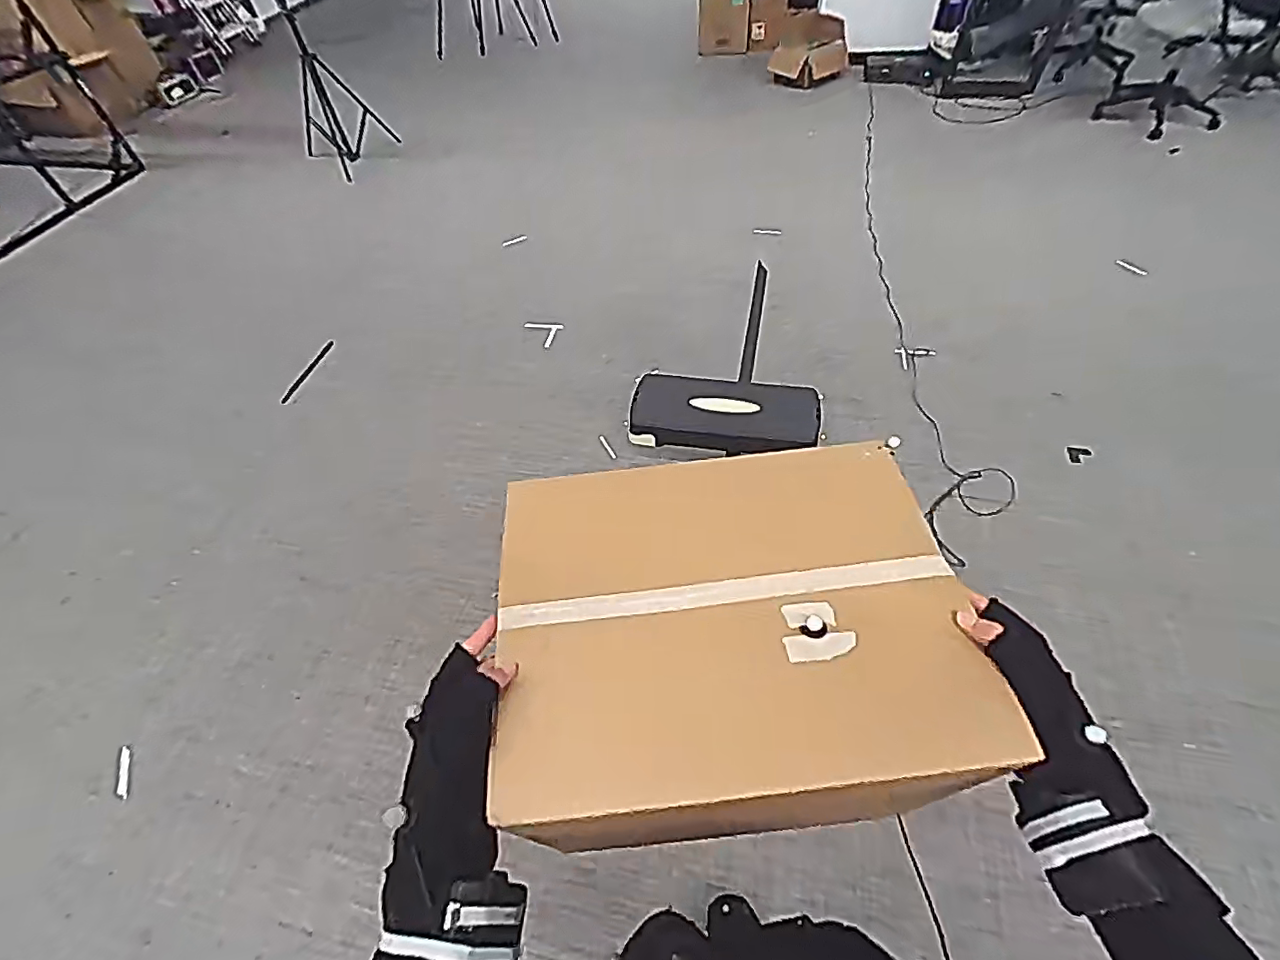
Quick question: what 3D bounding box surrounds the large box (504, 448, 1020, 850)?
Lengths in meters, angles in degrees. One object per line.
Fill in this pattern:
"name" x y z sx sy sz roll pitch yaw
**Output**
"large box" 0.086 0.198 0.612 0.408 0.320 0.320 -6 52 -1
